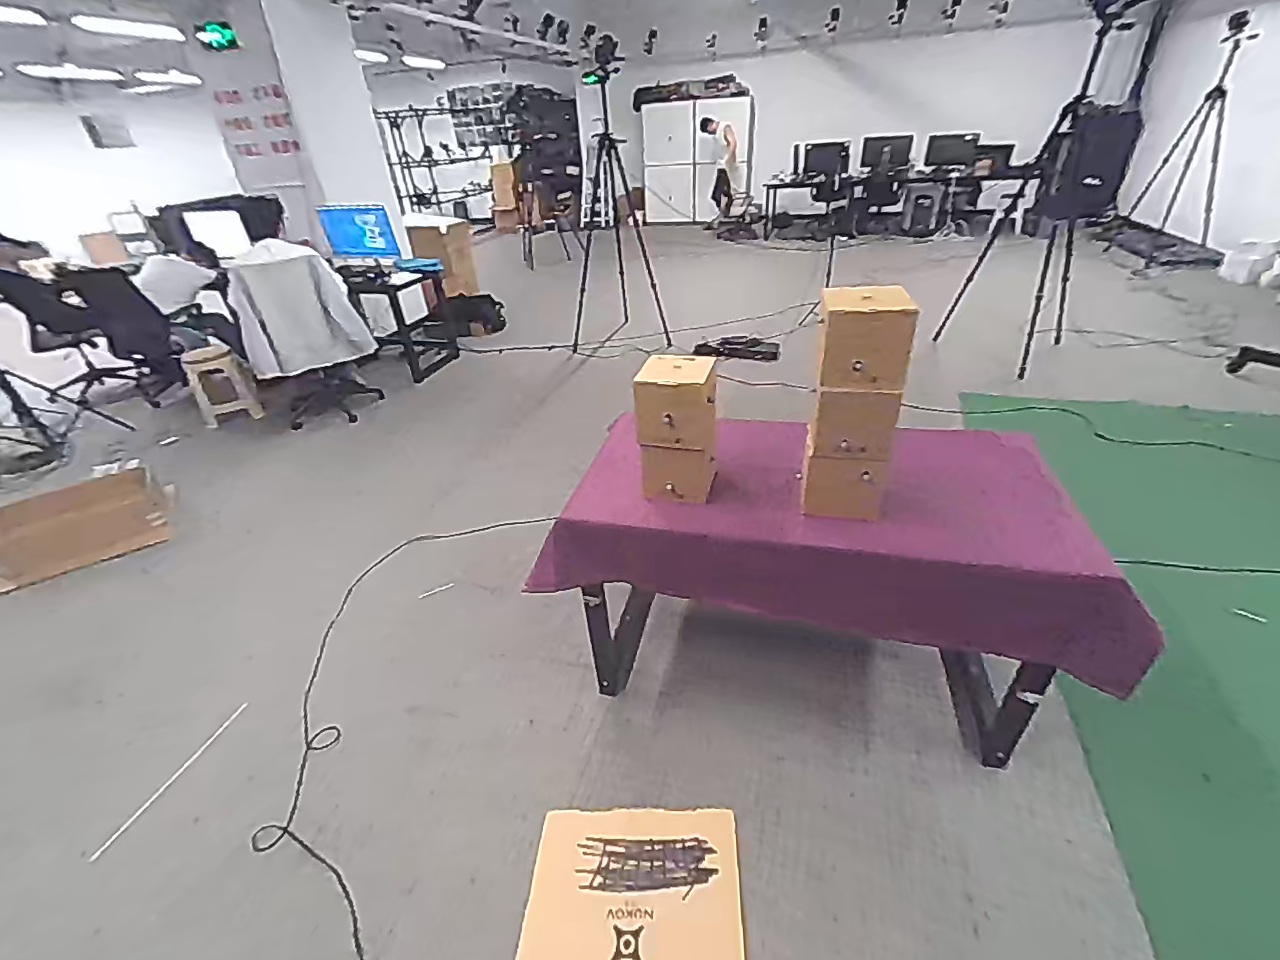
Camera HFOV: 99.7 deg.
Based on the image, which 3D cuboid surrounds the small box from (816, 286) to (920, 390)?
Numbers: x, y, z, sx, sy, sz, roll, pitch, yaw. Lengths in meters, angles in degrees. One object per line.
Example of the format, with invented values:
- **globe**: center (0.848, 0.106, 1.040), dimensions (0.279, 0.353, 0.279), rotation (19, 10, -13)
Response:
- **small box**: center (0.469, -0.300, 1.140), dimensions (0.168, 0.176, 0.179), rotation (2, 34, 12)

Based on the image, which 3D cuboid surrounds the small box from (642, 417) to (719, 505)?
- **small box**: center (0.109, -0.058, 1.411), dimensions (0.168, 0.176, 0.179), rotation (6, 35, 16)

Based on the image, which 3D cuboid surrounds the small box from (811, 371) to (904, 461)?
- **small box**: center (0.482, -0.161, 1.222), dimensions (0.168, 0.176, 0.179), rotation (4, 34, 14)

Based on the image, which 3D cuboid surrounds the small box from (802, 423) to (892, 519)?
- **small box**: center (0.493, -0.023, 1.308), dimensions (0.179, 0.176, 0.168), rotation (5, 33, 14)

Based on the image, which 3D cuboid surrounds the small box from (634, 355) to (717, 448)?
- **small box**: center (0.092, -0.192, 1.317), dimensions (0.168, 0.176, 0.179), rotation (7, 35, 15)
